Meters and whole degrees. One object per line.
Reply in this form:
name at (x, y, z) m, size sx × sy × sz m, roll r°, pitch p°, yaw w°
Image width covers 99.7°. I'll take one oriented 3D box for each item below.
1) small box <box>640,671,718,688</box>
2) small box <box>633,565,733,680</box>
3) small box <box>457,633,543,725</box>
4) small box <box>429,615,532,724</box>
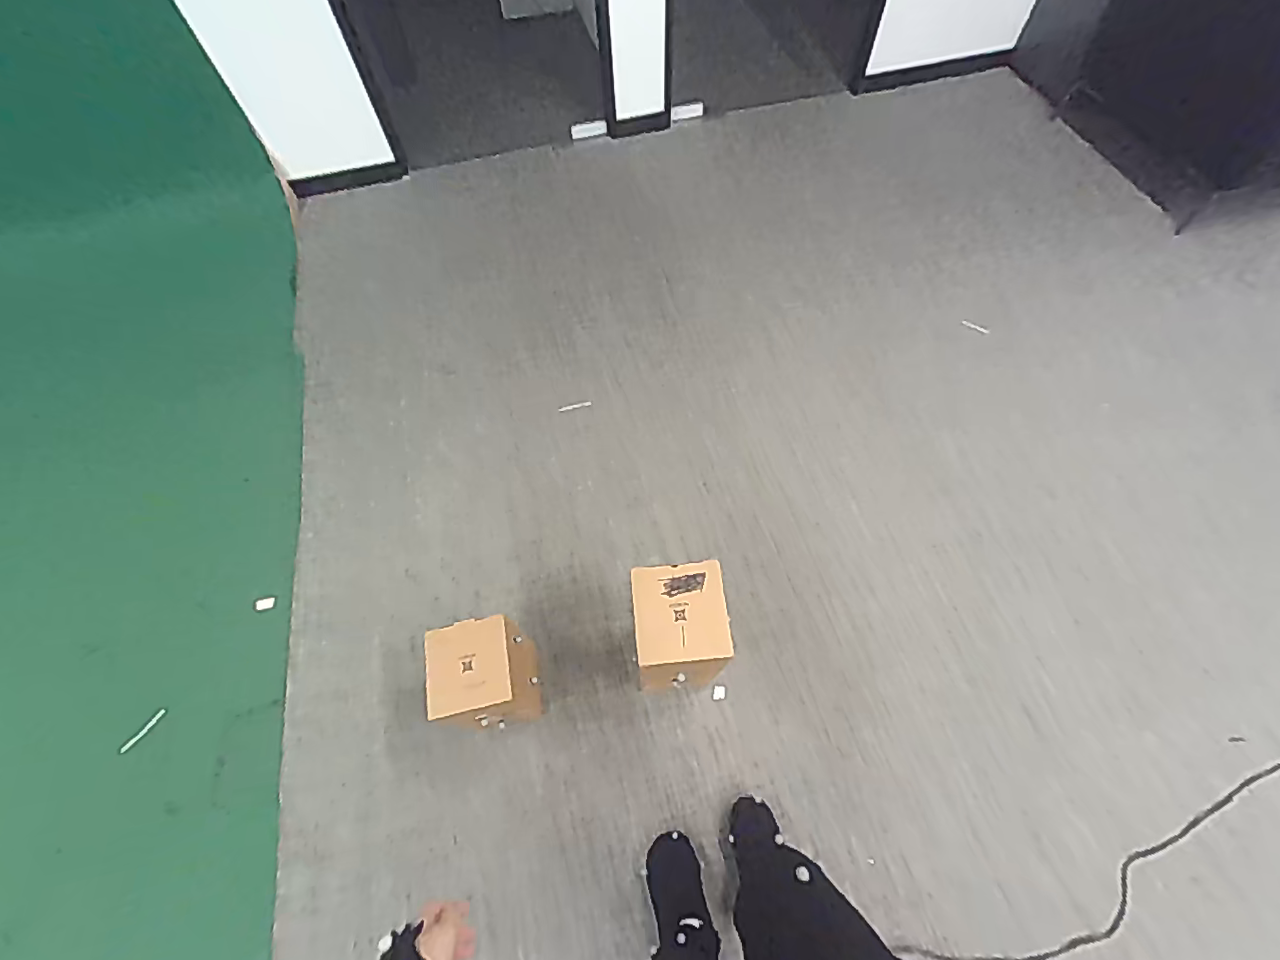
small box at (0.077, 0.342, 1.176) m, size 0.168 × 0.176 × 0.179 m, roll -7°, pitch 63°, yaw -1°
small box at (0.073, 0.274, 1.026) m, size 0.168 × 0.176 × 0.179 m, roll -5°, pitch 64°, yaw -1°
small box at (-0.335, 0.483, 1.299) m, size 0.168 × 0.176 × 0.179 m, roll -10°, pitch 63°, yaw -3°
small box at (-0.336, 0.408, 1.155) m, size 0.168 × 0.176 × 0.179 m, roll -13°, pitch 63°, yaw -4°
